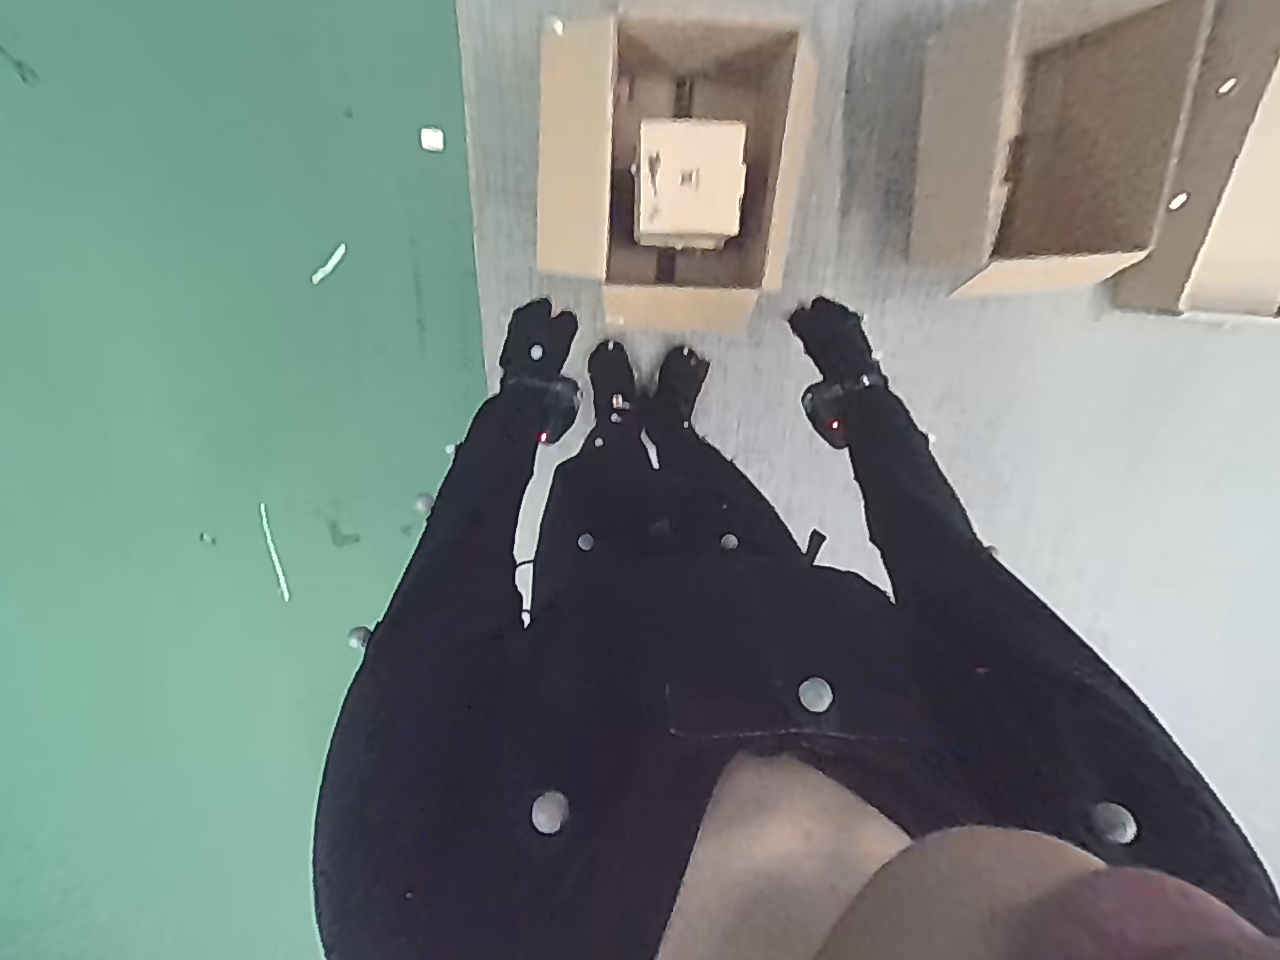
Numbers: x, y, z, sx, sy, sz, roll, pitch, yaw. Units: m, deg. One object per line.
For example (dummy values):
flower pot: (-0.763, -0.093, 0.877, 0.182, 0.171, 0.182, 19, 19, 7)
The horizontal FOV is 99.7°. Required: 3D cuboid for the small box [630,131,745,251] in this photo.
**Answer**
small box: (0.079, -0.518, 0.992, 0.179, 0.176, 0.168, 0, 108, -6)
